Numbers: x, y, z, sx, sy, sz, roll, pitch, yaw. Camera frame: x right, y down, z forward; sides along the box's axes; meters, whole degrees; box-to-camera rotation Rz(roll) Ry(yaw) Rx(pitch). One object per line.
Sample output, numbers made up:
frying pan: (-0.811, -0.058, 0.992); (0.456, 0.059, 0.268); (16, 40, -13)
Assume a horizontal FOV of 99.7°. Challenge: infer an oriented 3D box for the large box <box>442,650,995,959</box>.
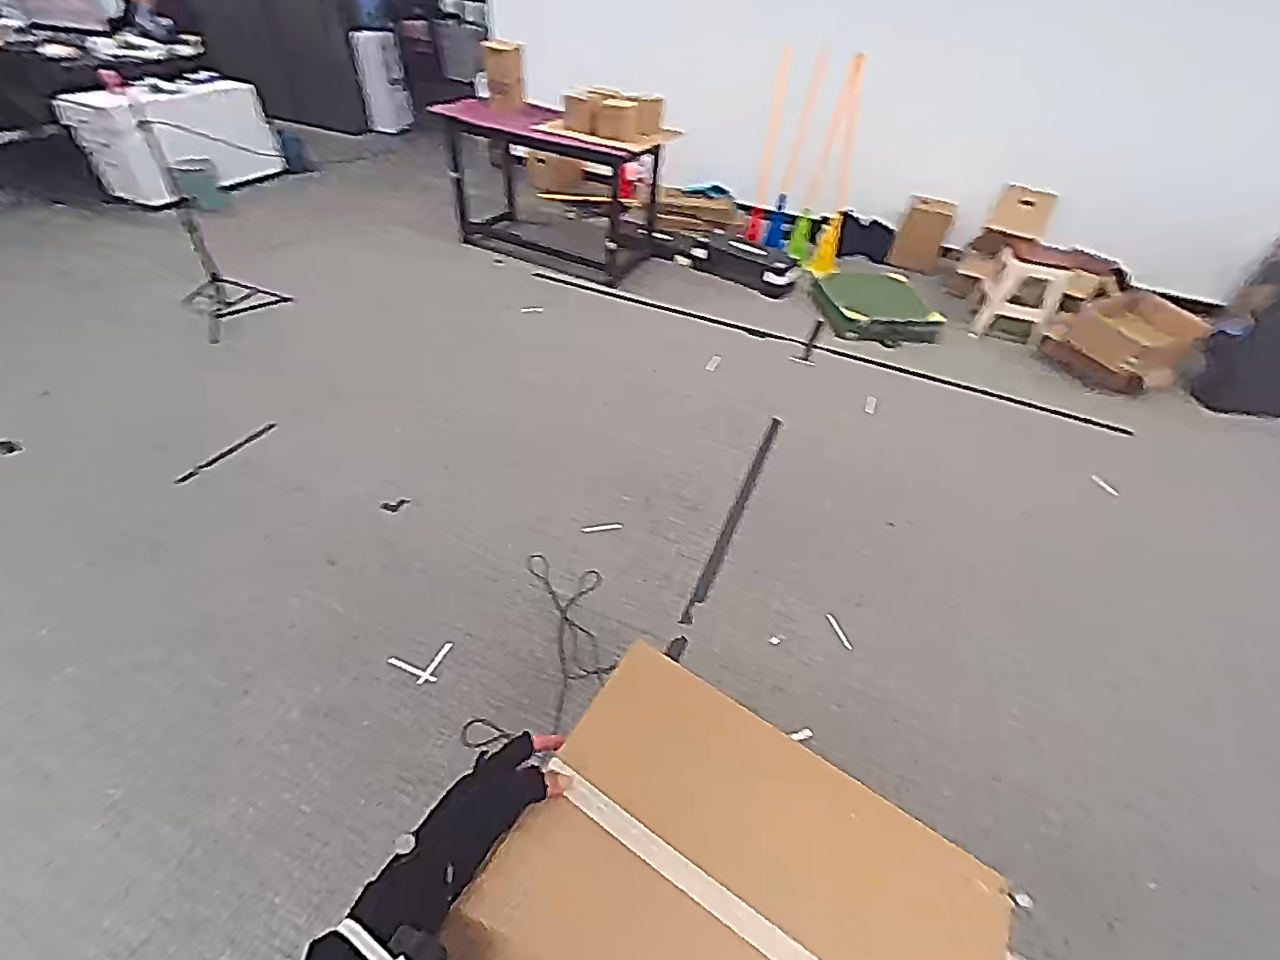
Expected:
large box: (0.069, 0.466, 0.585); (0.408, 0.320, 0.320); (29, 55, 18)
